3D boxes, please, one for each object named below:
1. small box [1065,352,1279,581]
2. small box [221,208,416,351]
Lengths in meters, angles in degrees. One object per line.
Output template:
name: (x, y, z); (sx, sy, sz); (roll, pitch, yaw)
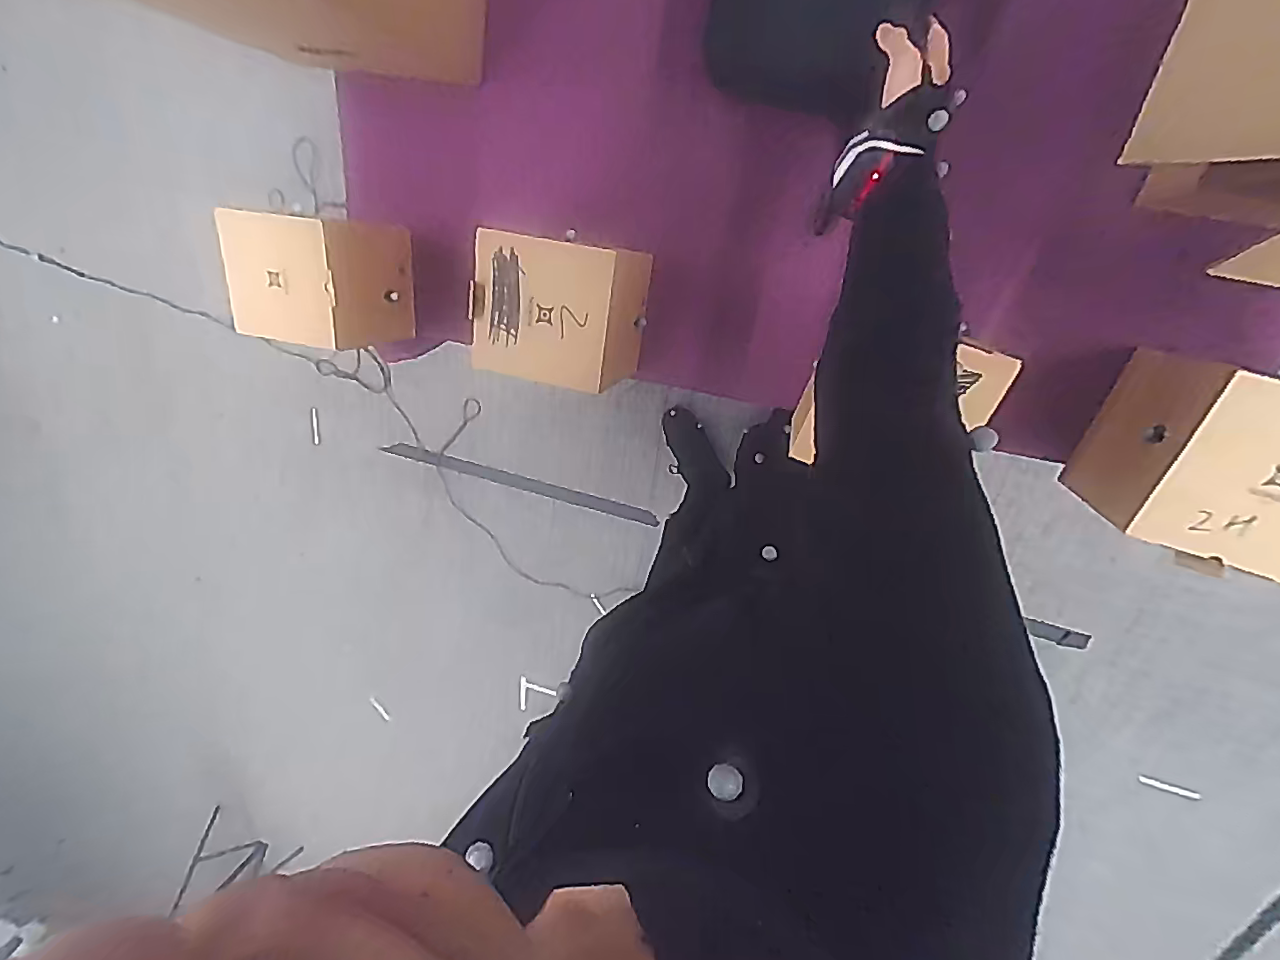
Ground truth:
small box: (0.603, -0.025, 0.570); (0.168, 0.176, 0.179); (20, 114, 10)
small box: (-0.460, -0.294, 0.798); (0.179, 0.176, 0.168); (11, 113, 11)
